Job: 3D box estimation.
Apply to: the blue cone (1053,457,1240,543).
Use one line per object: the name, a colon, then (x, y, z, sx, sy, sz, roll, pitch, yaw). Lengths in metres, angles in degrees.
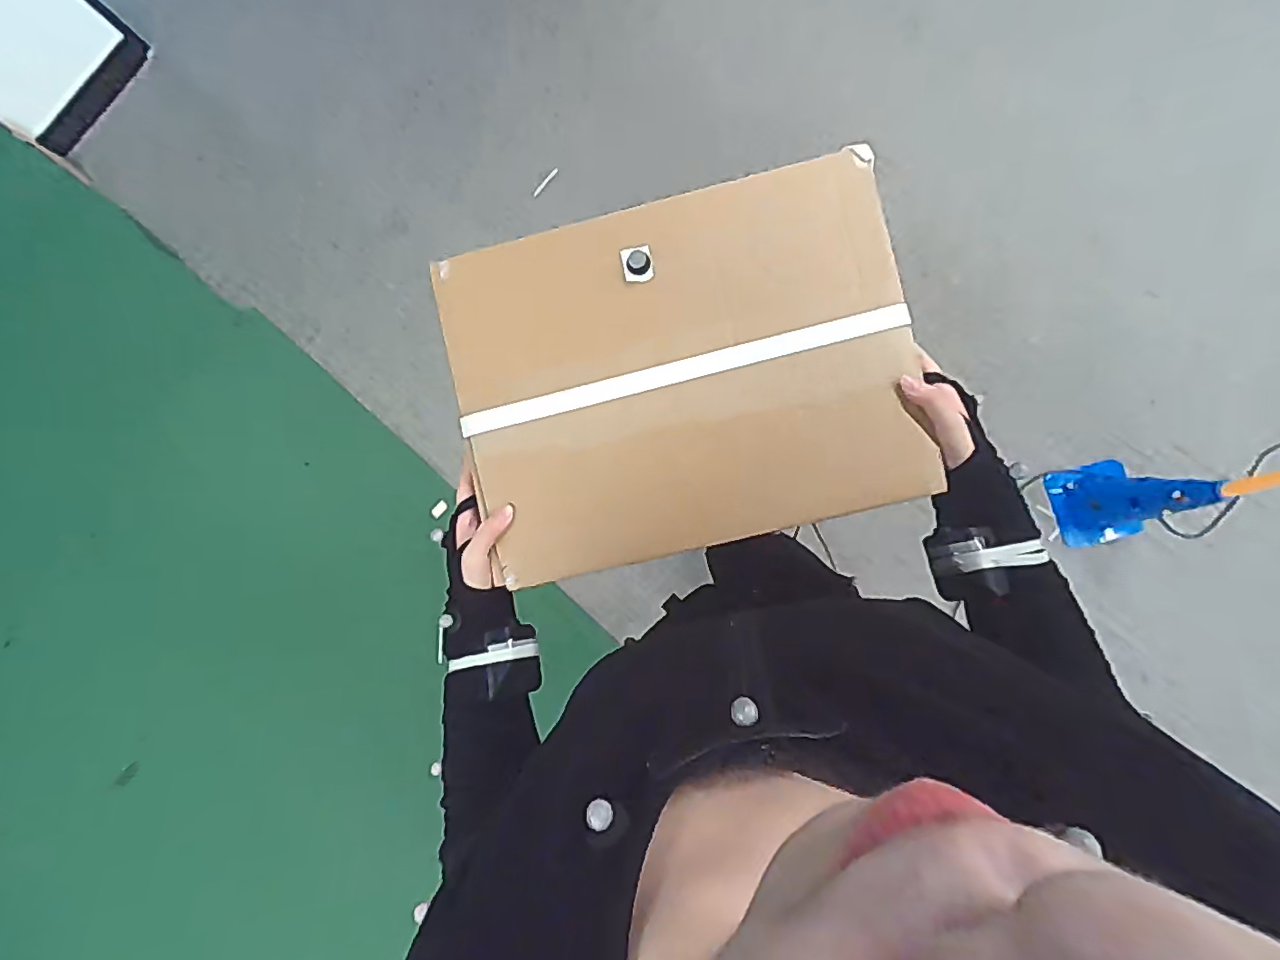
blue cone: (1.157, 0.036, 1.215, 0.193, 0.380, 0.192, -17, 82, 5)
